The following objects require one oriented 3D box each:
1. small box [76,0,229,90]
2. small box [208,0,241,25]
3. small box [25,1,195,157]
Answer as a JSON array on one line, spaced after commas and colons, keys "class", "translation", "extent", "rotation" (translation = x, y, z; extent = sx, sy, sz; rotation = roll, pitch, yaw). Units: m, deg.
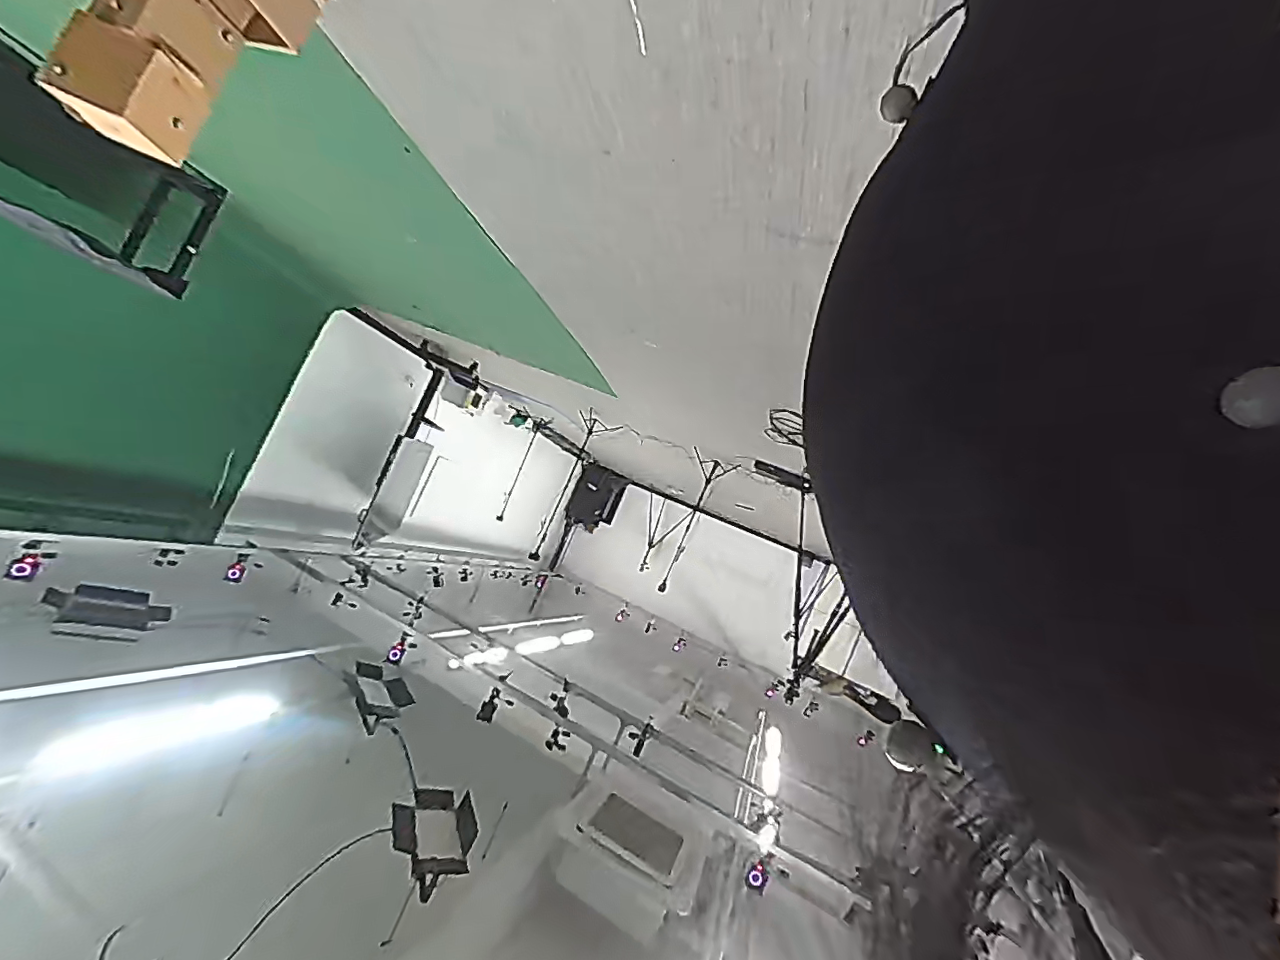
[{"class": "small box", "translation": [-1.033, -0.990, 1.158], "extent": [0.179, 0.176, 0.168], "rotation": [23, 174, 16]}, {"class": "small box", "translation": [-0.978, -1.145, 1.171], "extent": [0.179, 0.176, 0.168], "rotation": [22, 175, 17]}, {"class": "small box", "translation": [-1.092, -0.840, 1.138], "extent": [0.179, 0.176, 0.168], "rotation": [25, 174, -6]}]
